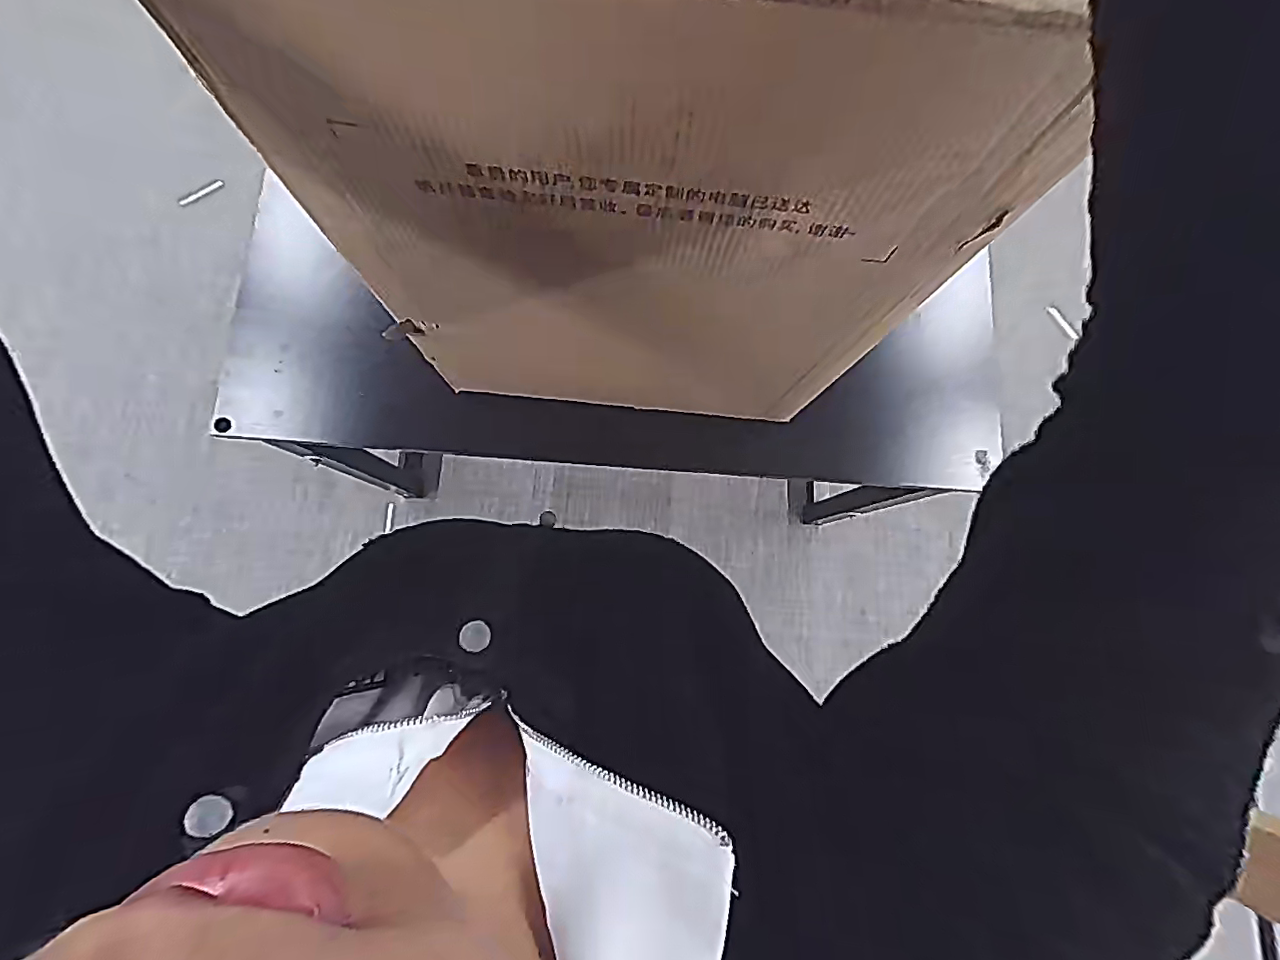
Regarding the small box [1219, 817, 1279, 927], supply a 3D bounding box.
[{"bbox_3d":[1.324,0.800,1.072,0.179,0.176,0.168,10,79,0],"label":"small box"}]
